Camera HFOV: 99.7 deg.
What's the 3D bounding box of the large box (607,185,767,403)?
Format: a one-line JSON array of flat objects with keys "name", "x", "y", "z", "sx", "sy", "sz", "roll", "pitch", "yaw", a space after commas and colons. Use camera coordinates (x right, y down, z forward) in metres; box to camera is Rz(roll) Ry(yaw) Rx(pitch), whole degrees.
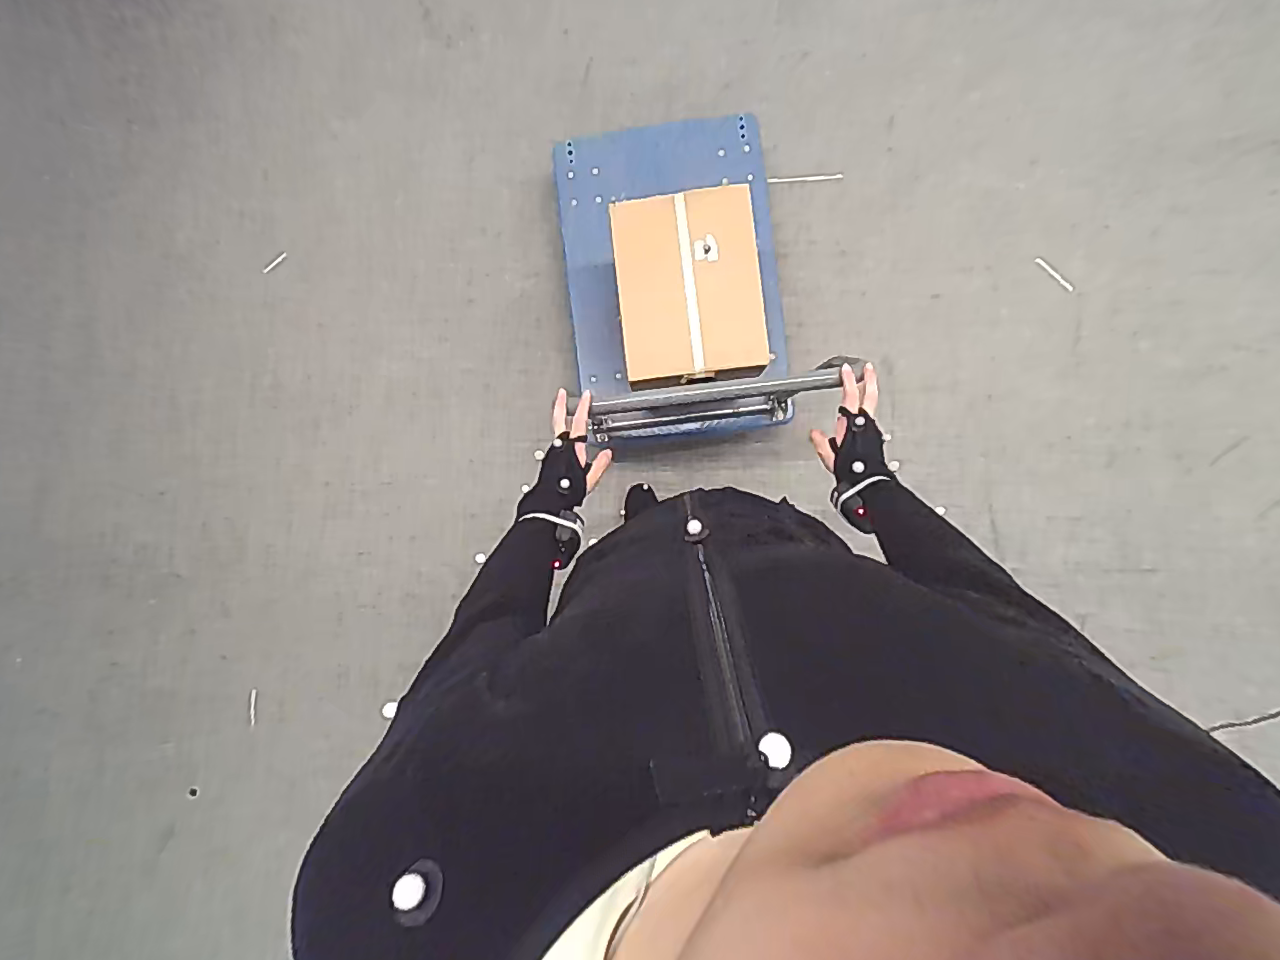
[{"name": "large box", "x": 0.113, "y": -0.430, "z": 1.339, "sx": 0.320, "sy": 0.320, "sz": 0.408, "roll": -7, "pitch": 88, "yaw": 3}]
